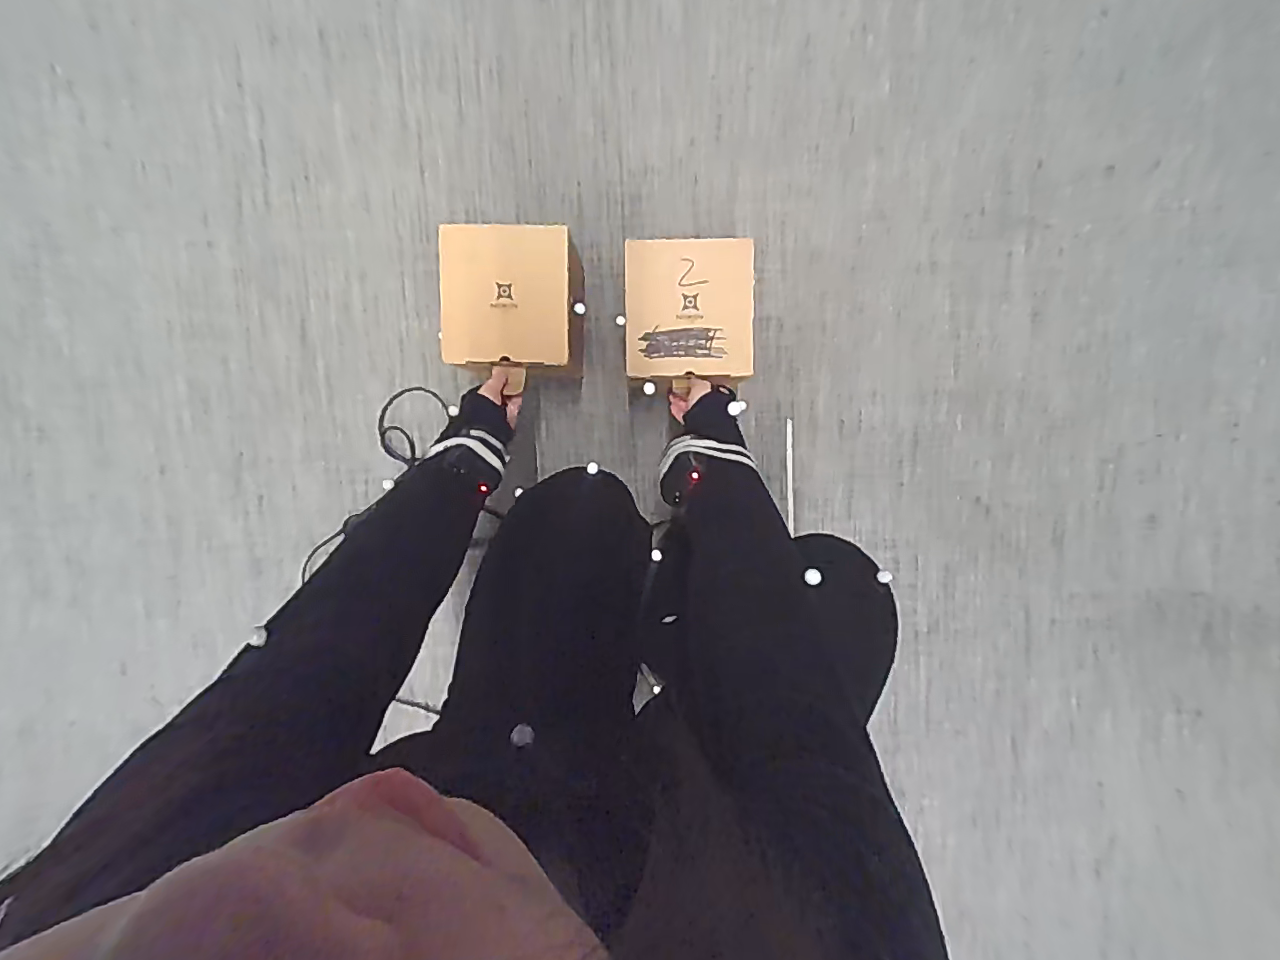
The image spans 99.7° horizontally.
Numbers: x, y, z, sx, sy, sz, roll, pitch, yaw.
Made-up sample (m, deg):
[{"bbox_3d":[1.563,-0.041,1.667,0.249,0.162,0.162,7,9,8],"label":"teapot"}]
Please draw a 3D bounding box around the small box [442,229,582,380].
[{"bbox_3d":[-0.175,-0.241,0.778,0.168,0.176,0.179,1,97,0],"label":"small box"}]
